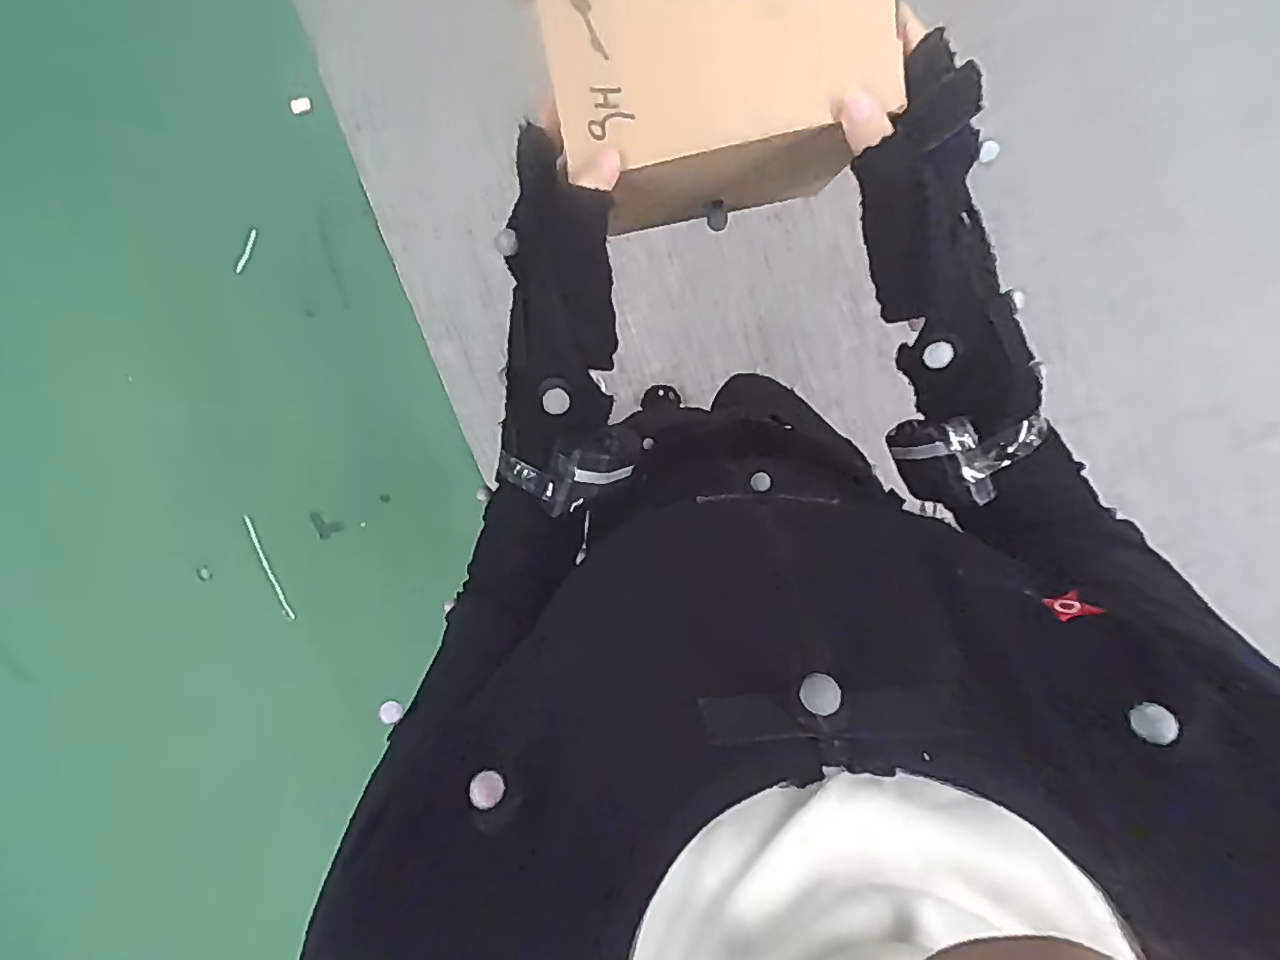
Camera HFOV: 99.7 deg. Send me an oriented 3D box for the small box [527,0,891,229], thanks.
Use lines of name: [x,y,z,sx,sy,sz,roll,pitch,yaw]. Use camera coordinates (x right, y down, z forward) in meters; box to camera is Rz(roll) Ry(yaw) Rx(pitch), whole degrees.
small box: [0.033,-0.272,0.337,0.179,0.176,0.168,-8,103,6]
